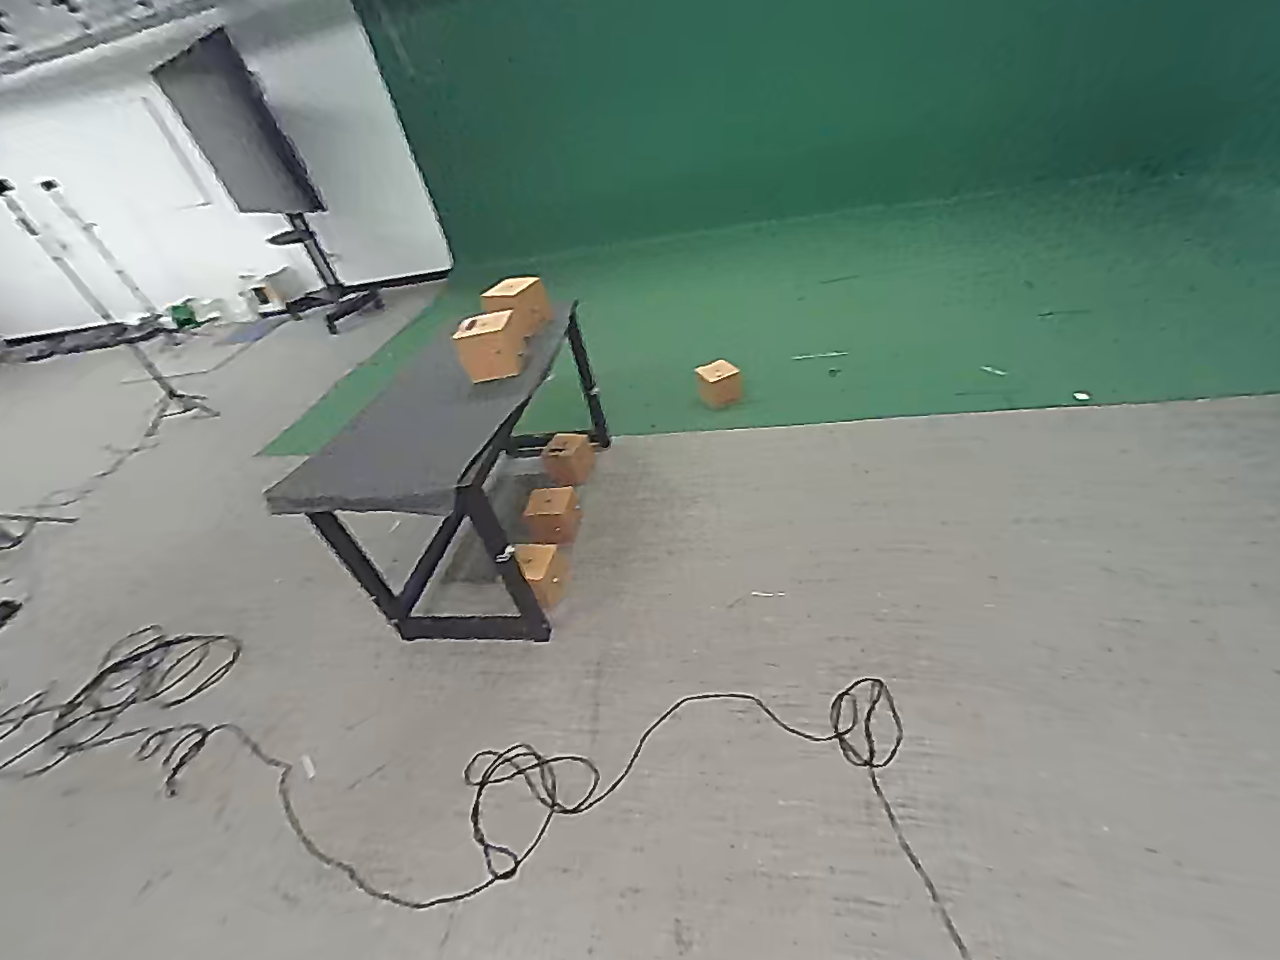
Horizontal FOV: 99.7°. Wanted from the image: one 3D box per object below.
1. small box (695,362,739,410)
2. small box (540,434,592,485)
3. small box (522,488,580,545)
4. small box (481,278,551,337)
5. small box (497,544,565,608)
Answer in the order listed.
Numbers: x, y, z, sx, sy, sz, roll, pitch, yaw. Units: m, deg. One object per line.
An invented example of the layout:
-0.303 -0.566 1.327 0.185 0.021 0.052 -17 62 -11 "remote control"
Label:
0.400 -0.487 2.804 0.168 0.176 0.179 -23 39 -12 "small box"
-0.339 -0.097 2.533 0.168 0.176 0.179 7 41 22 "small box"
-0.361 0.151 2.236 0.179 0.176 0.168 -5 39 12 "small box"
-0.473 -0.665 2.093 0.179 0.176 0.168 10 44 30 "small box"
-0.394 0.358 1.996 0.179 0.176 0.168 0 41 17 "small box"
